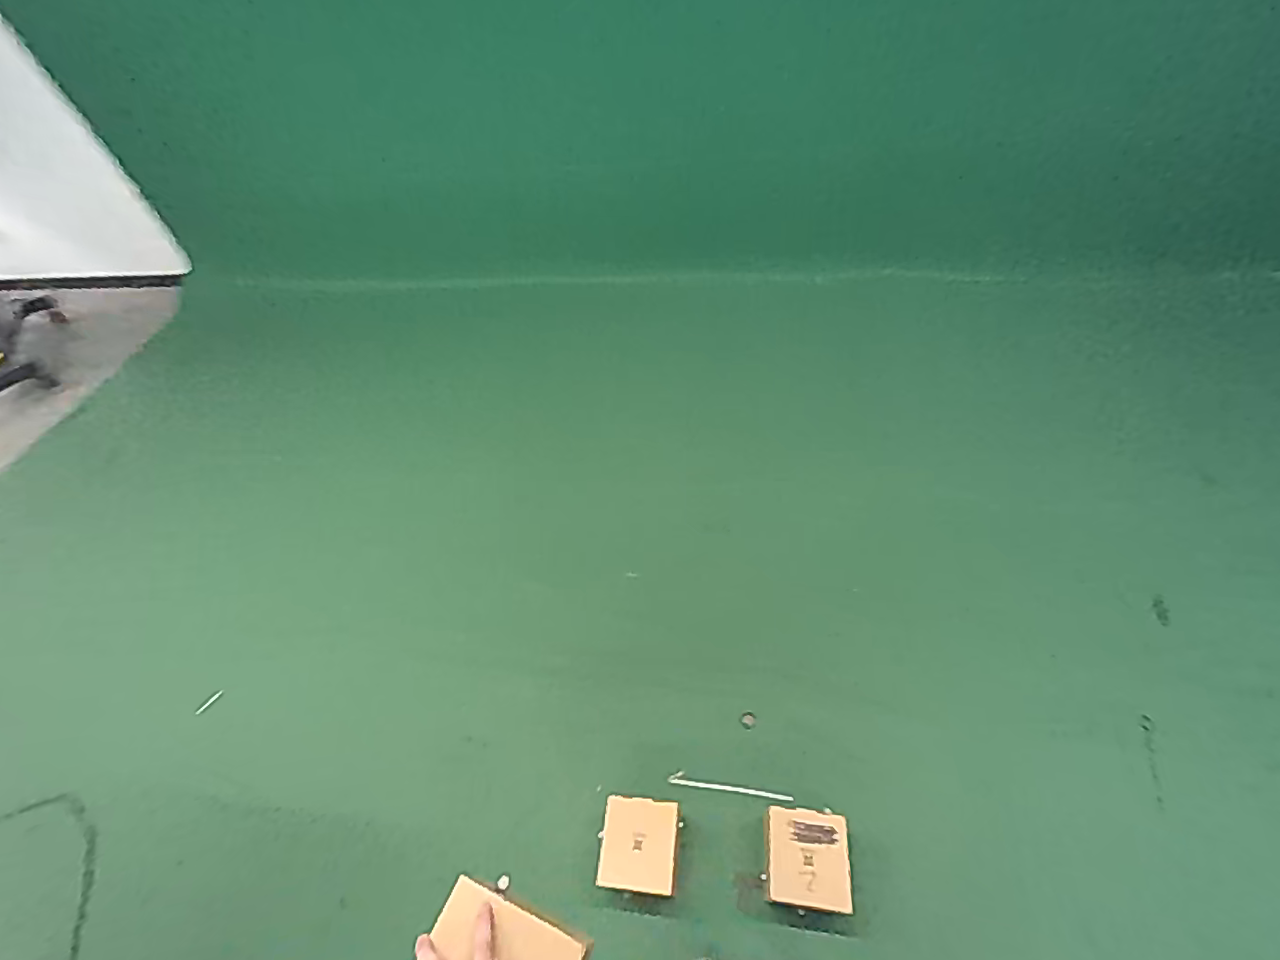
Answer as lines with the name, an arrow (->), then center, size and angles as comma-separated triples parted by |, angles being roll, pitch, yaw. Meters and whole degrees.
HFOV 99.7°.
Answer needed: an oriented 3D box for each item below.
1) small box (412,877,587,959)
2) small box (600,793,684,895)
small box -> -0.179, 0.620, 0.655 | 0.179, 0.176, 0.168 | 18, 54, 14
small box -> 0.013, 0.865, 1.280 | 0.168, 0.176, 0.179 | 1, 51, 10
